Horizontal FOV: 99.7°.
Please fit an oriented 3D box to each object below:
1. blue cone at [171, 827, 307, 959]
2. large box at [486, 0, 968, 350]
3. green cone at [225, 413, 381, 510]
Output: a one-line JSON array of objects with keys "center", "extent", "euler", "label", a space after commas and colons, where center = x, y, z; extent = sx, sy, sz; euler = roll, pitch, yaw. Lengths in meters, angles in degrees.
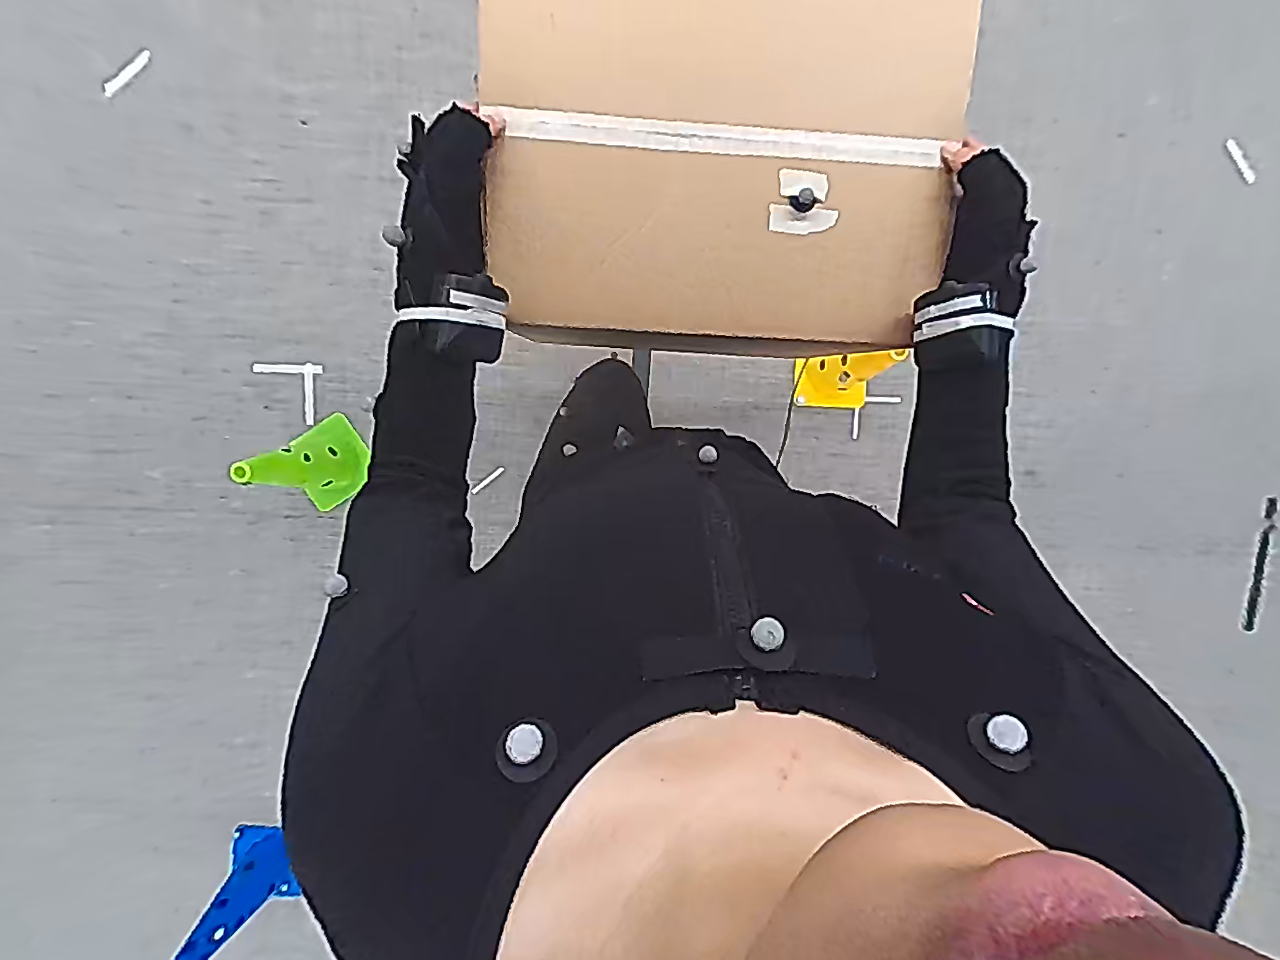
[{"center": [-1.023, 1.074, 1.345], "extent": [0.192, 0.380, 0.193], "euler": [6, 94, -2], "label": "blue cone"}, {"center": [0.061, -0.317, 0.602], "extent": [0.408, 0.320, 0.320], "euler": [2, 101, -5], "label": "large box"}, {"center": [-0.804, -0.032, 1.246], "extent": [0.202, 0.368, 0.200], "euler": [-34, 95, 2], "label": "green cone"}]
